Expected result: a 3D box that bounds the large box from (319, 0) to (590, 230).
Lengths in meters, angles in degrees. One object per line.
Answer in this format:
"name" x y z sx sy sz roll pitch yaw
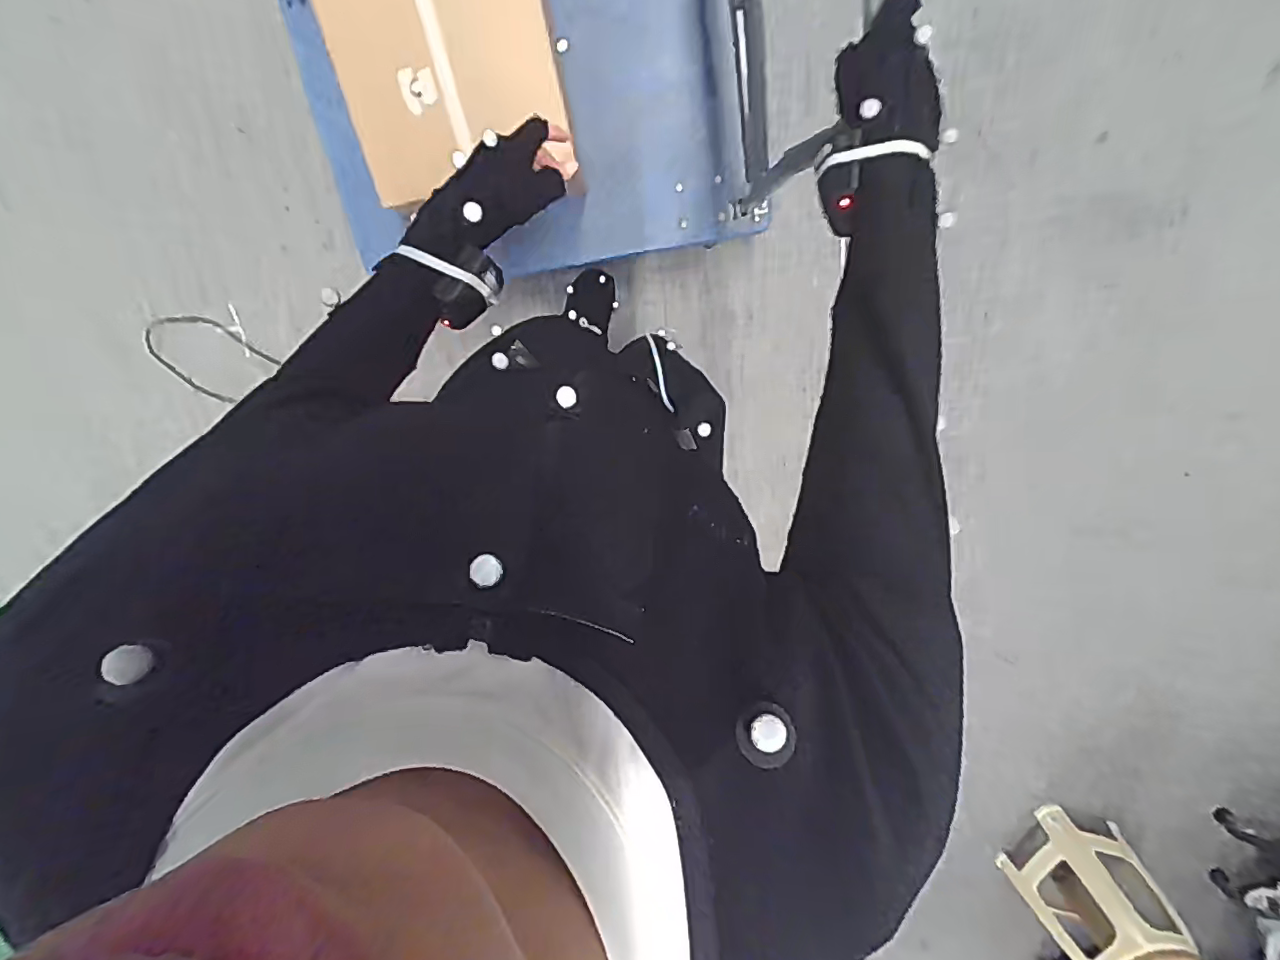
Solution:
"large box" -0.287 -0.683 0.919 0.320 0.320 0.408 -12 111 4
